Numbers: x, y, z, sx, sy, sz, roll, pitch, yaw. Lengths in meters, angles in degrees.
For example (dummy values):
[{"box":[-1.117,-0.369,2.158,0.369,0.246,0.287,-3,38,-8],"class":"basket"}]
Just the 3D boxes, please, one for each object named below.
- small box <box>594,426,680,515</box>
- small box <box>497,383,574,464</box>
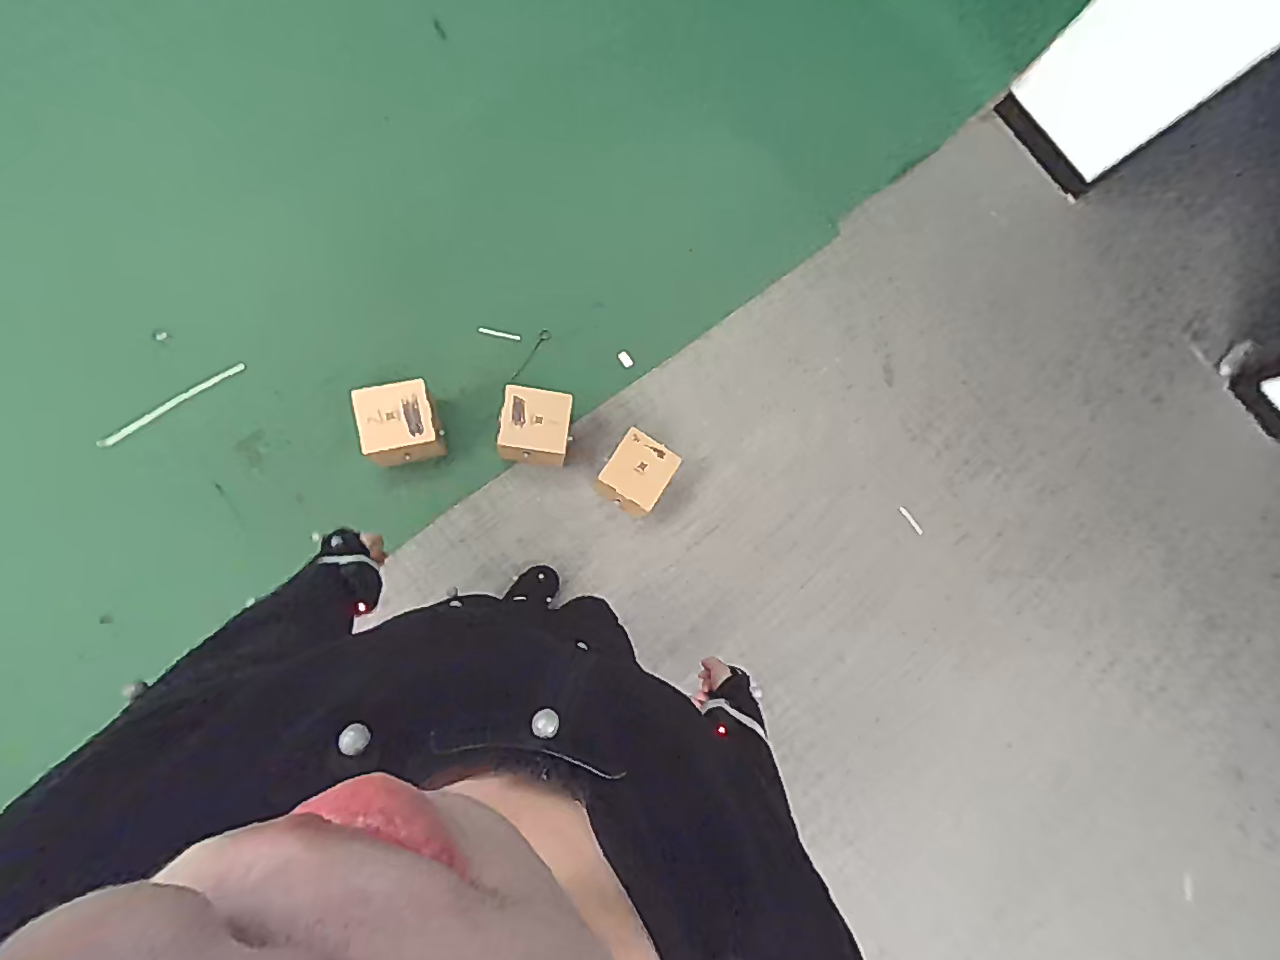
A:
[{"box":[-0.015,-0.018,1.504,0.168,0.176,0.179,35,77,-3],"class":"small box"},{"box":[-0.284,-0.147,1.476,0.179,0.176,0.168,9,79,-10],"class":"small box"}]
